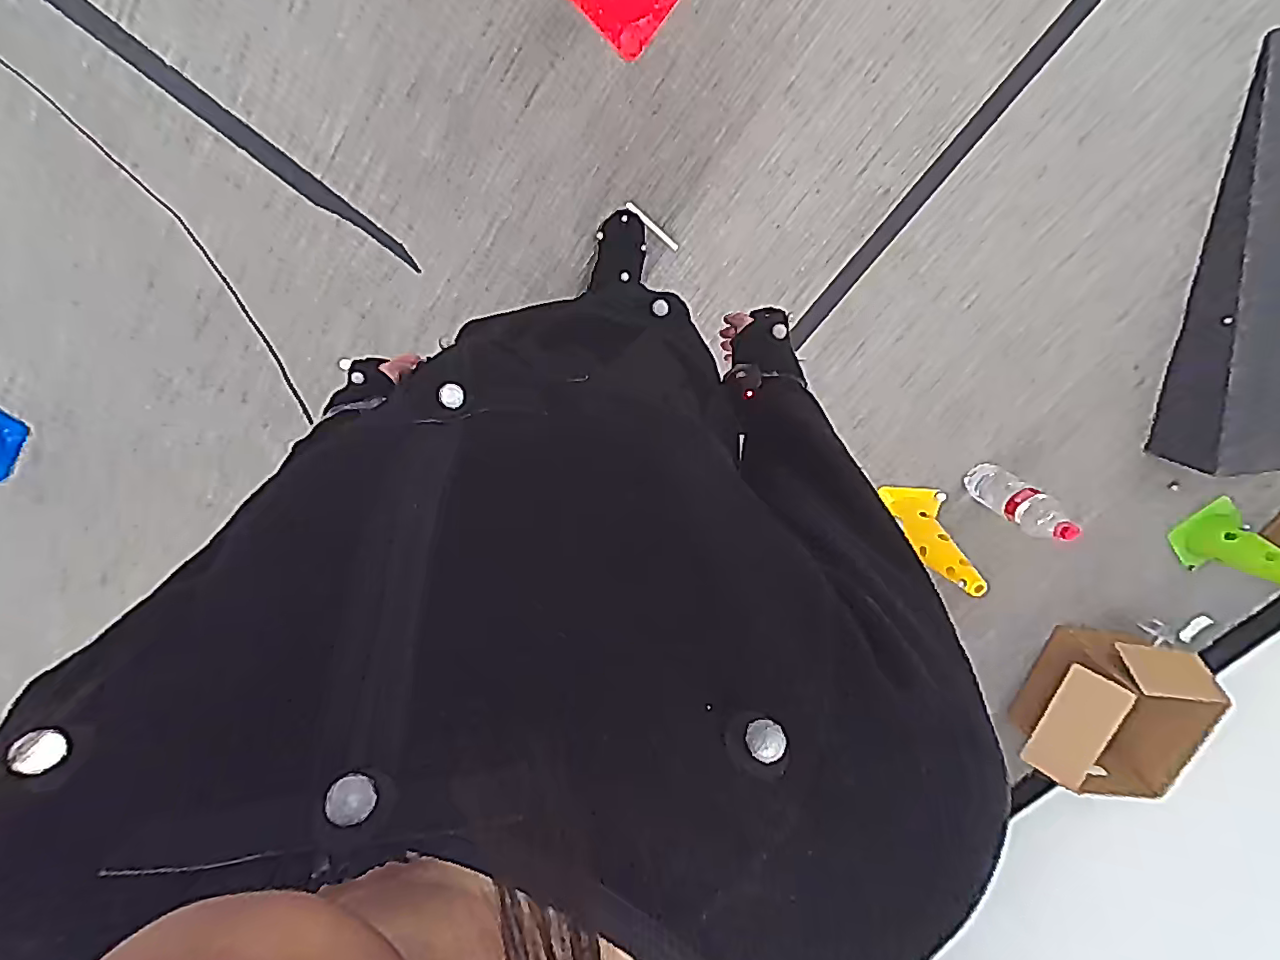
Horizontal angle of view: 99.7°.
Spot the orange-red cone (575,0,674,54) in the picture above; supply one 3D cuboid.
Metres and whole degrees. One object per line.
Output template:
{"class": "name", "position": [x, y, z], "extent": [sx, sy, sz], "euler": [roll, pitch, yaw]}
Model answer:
{"class": "orange-red cone", "position": [-0.017, -0.906, 0.885], "extent": [0.199, 0.360, 0.198], "euler": [39, 106, -19]}

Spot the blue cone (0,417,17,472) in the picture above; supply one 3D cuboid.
{"class": "blue cone", "position": [-1.629, -0.050, 1.164], "extent": [0.192, 0.380, 0.193], "euler": [40, 105, -18]}
